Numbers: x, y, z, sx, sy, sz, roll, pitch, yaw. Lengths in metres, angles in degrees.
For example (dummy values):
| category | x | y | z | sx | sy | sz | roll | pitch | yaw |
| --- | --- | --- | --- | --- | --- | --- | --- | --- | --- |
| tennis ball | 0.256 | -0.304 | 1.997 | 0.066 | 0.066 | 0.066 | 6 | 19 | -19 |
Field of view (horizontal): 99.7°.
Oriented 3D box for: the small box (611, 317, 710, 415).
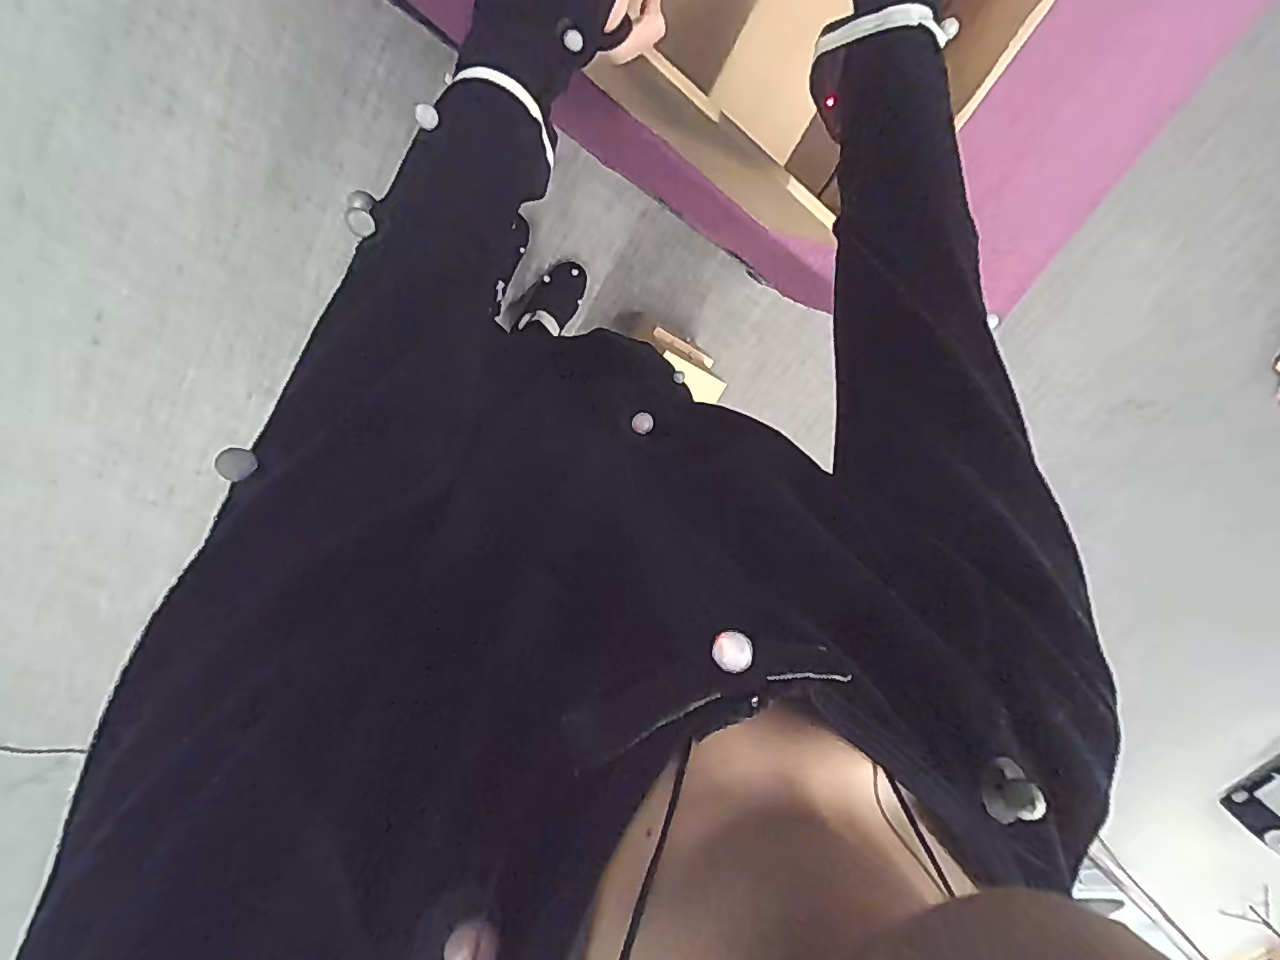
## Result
| category | x | y | z | sx | sy | sz | roll | pitch | yaw |
| --- | --- | --- | --- | --- | --- | --- | --- | --- | --- |
| small box | 0.047 | -0.299 | 1.388 | 0.179 | 0.176 | 0.168 | 25 | 110 | -23 |
